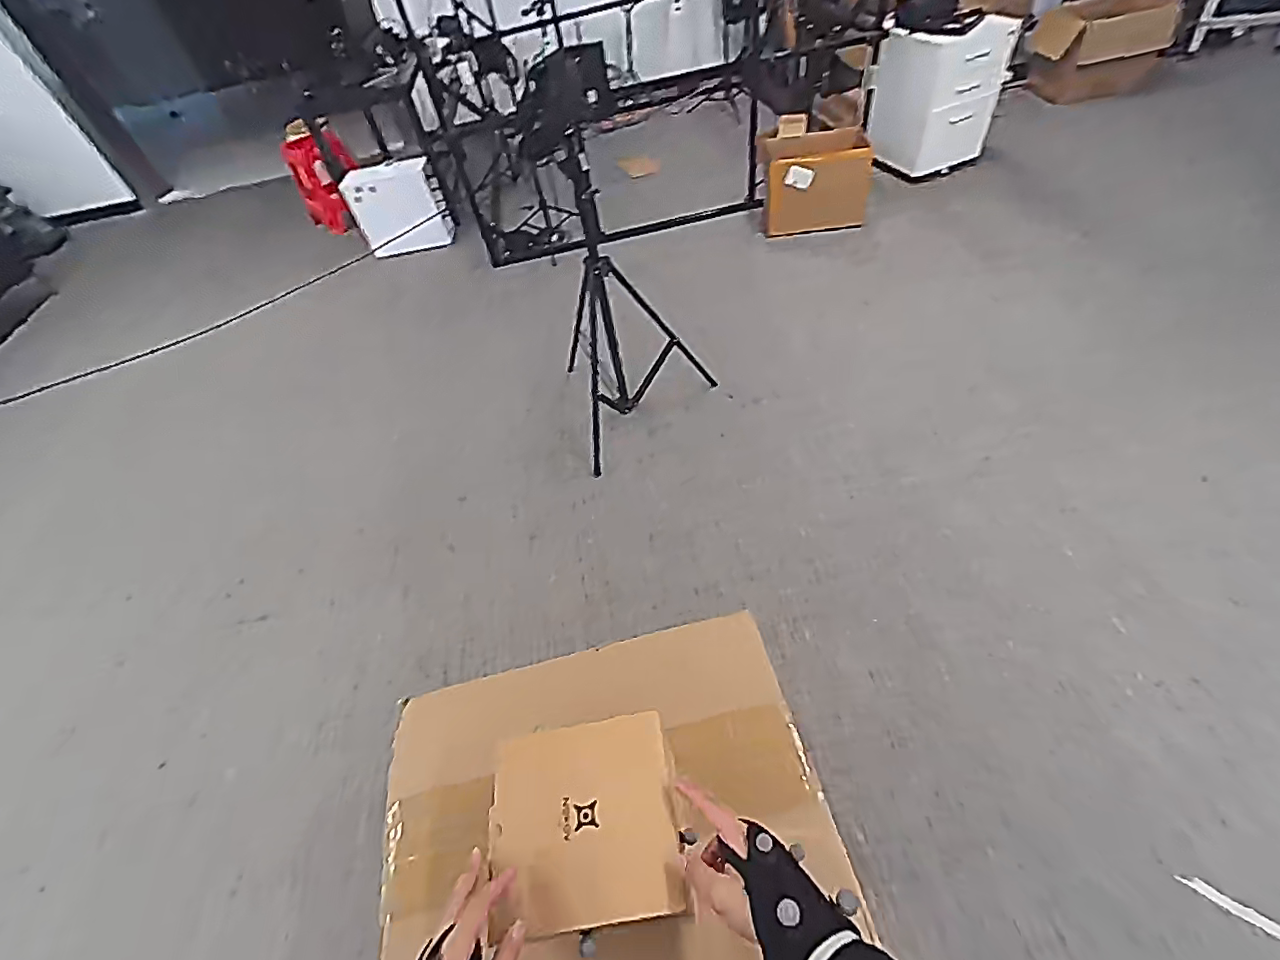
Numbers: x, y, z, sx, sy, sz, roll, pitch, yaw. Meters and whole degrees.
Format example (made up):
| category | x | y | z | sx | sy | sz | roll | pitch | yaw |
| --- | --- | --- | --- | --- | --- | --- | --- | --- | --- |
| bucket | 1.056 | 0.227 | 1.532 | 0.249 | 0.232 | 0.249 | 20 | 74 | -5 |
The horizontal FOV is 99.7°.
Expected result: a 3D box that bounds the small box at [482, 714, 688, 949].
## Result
| category | x | y | z | sx | sy | sz | roll | pitch | yaw |
| --- | --- | --- | --- | --- | --- | --- | --- | --- | --- |
| small box | -0.048 | 0.365 | 0.564 | 0.179 | 0.176 | 0.168 | -12 | 49 | 1 |
